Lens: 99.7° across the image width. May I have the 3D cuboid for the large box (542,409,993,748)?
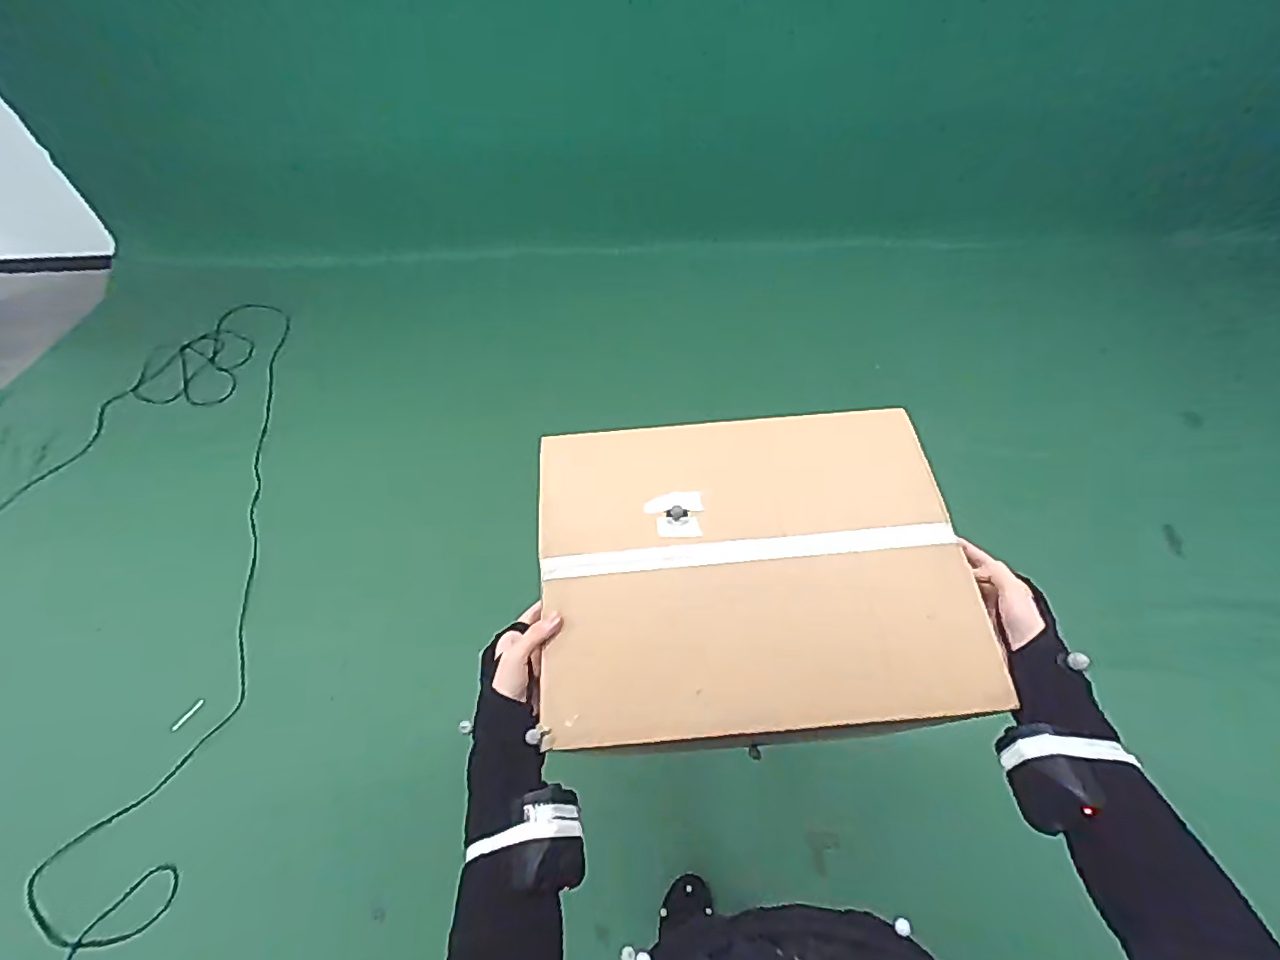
[{"bbox_3d":[0.110,0.142,0.673,0.408,0.320,0.320,-6,61,0],"label":"large box"}]
